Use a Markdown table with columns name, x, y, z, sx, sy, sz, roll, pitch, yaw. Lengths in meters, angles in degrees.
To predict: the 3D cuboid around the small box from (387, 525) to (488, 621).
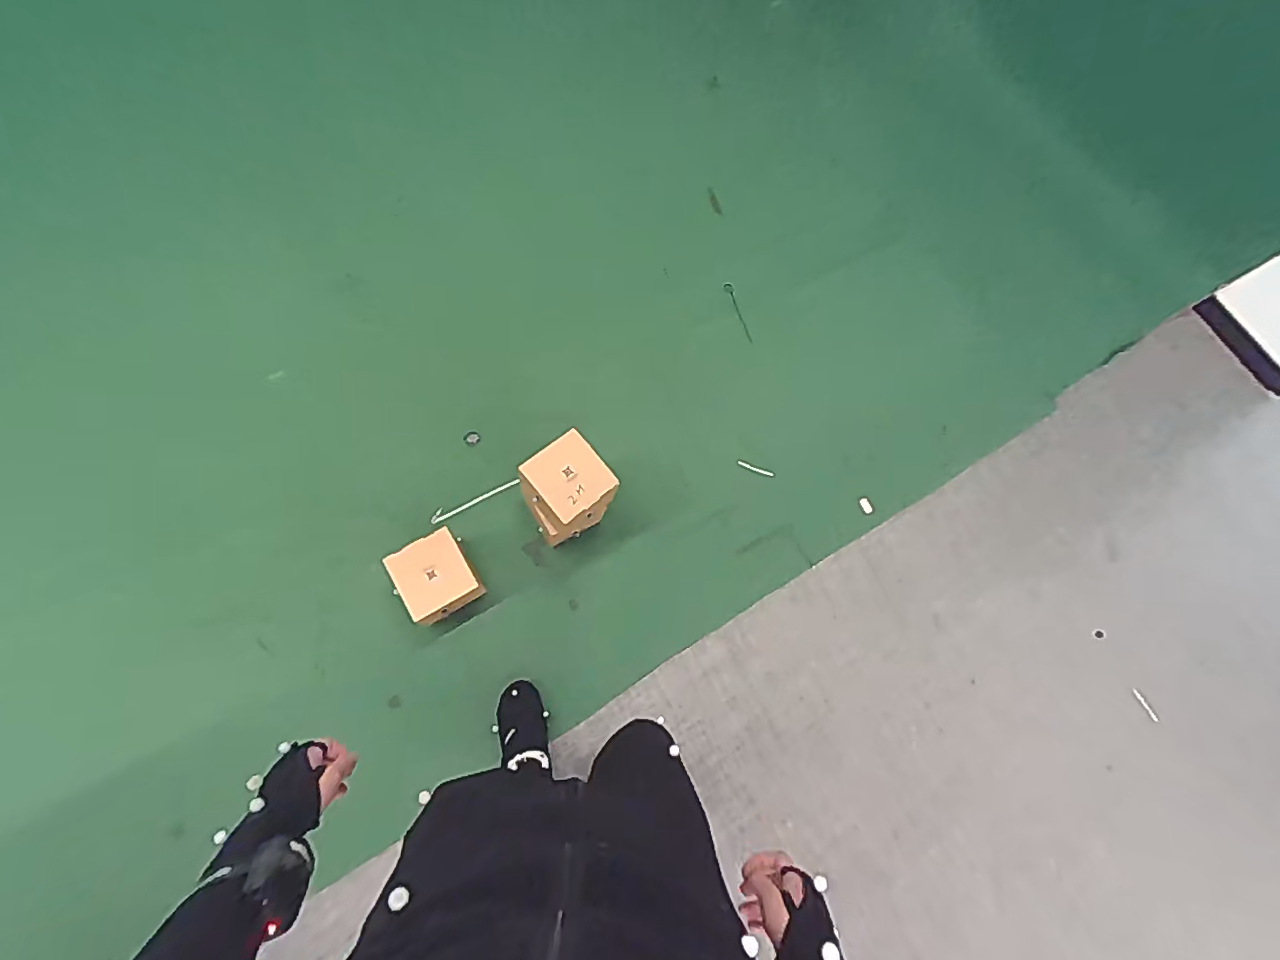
| name | x | y | z | sx | sy | sz | roll | pitch | yaw |
| --- | --- | --- | --- | --- | --- | --- | --- | --- | --- |
| small box | -0.504 | 0.241 | 1.374 | 0.168 | 0.176 | 0.179 | -30 | 79 | -16 |

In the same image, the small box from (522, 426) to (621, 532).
| name | x | y | z | sx | sy | sz | roll | pitch | yaw |
| --- | --- | --- | --- | --- | --- | --- | --- | --- | --- |
| small box | -0.171 | 0.005 | 1.323 | 0.168 | 0.176 | 0.179 | -38 | 83 | -17 |
